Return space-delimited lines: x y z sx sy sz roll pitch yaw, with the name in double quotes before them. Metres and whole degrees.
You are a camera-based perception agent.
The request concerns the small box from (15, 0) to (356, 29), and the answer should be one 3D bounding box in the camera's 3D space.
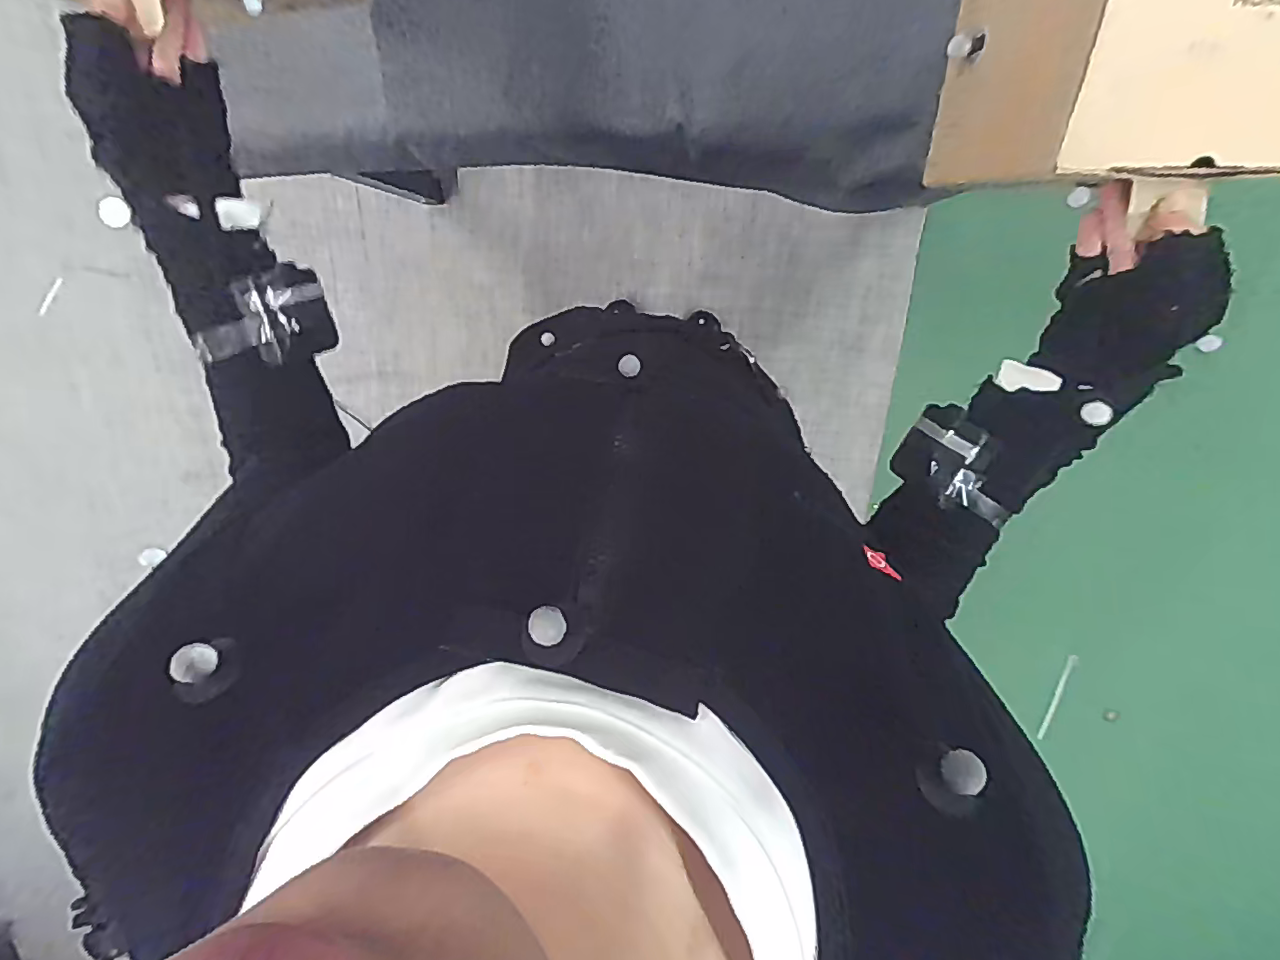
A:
"small box" -0.316 -0.409 0.337 0.168 0.176 0.179 -2 121 8
